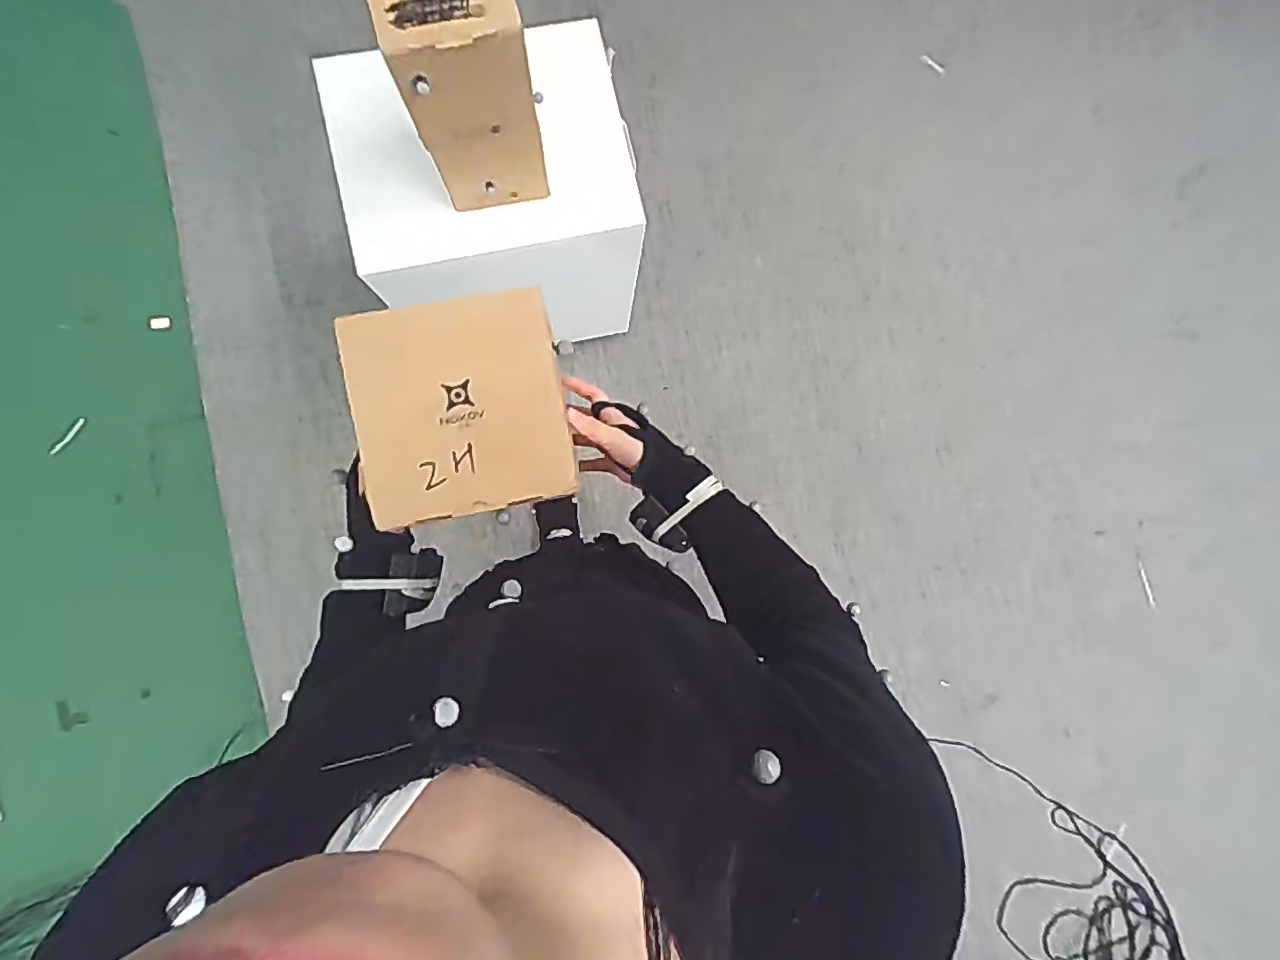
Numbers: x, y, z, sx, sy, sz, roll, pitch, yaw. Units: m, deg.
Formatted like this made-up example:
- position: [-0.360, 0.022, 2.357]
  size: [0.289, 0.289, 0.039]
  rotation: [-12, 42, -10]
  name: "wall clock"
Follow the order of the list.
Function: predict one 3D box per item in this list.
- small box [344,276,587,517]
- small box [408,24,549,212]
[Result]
- position: [-0.146, -0.065, 0.509]
  size: [0.168, 0.176, 0.179]
  rotation: [-11, 89, -5]
  name: "small box"
- position: [-0.247, -0.567, 0.864]
  size: [0.168, 0.176, 0.179]
  rotation: [-13, 87, -6]
  name: "small box"
